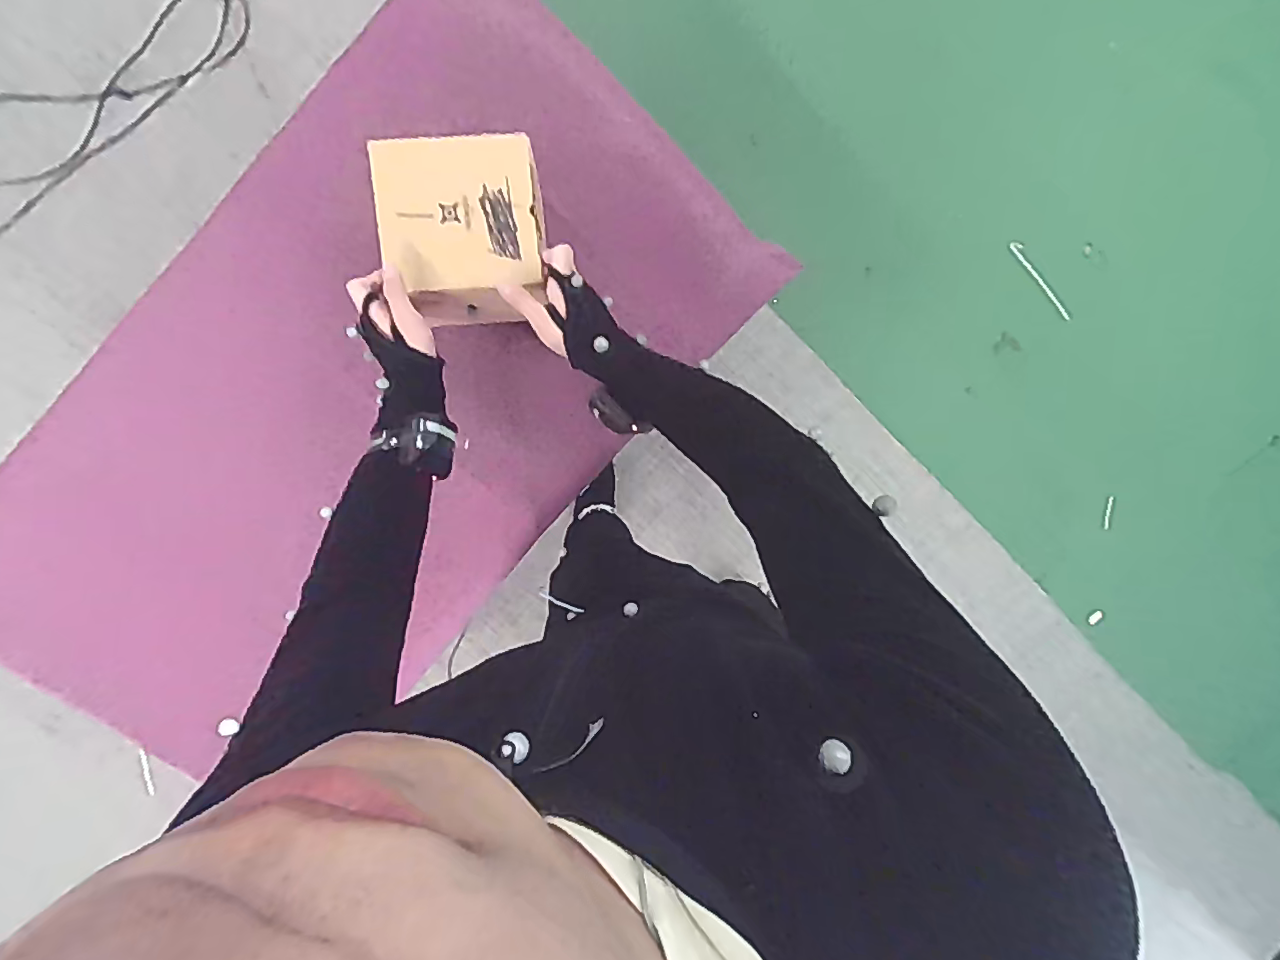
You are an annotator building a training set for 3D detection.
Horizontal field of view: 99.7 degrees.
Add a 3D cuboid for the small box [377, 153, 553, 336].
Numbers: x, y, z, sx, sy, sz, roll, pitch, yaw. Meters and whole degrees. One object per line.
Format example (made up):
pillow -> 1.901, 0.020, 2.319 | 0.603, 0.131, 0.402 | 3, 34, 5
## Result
small box -> -0.201, -0.280, 0.675 | 0.179, 0.176, 0.168 | -4, 94, -5
